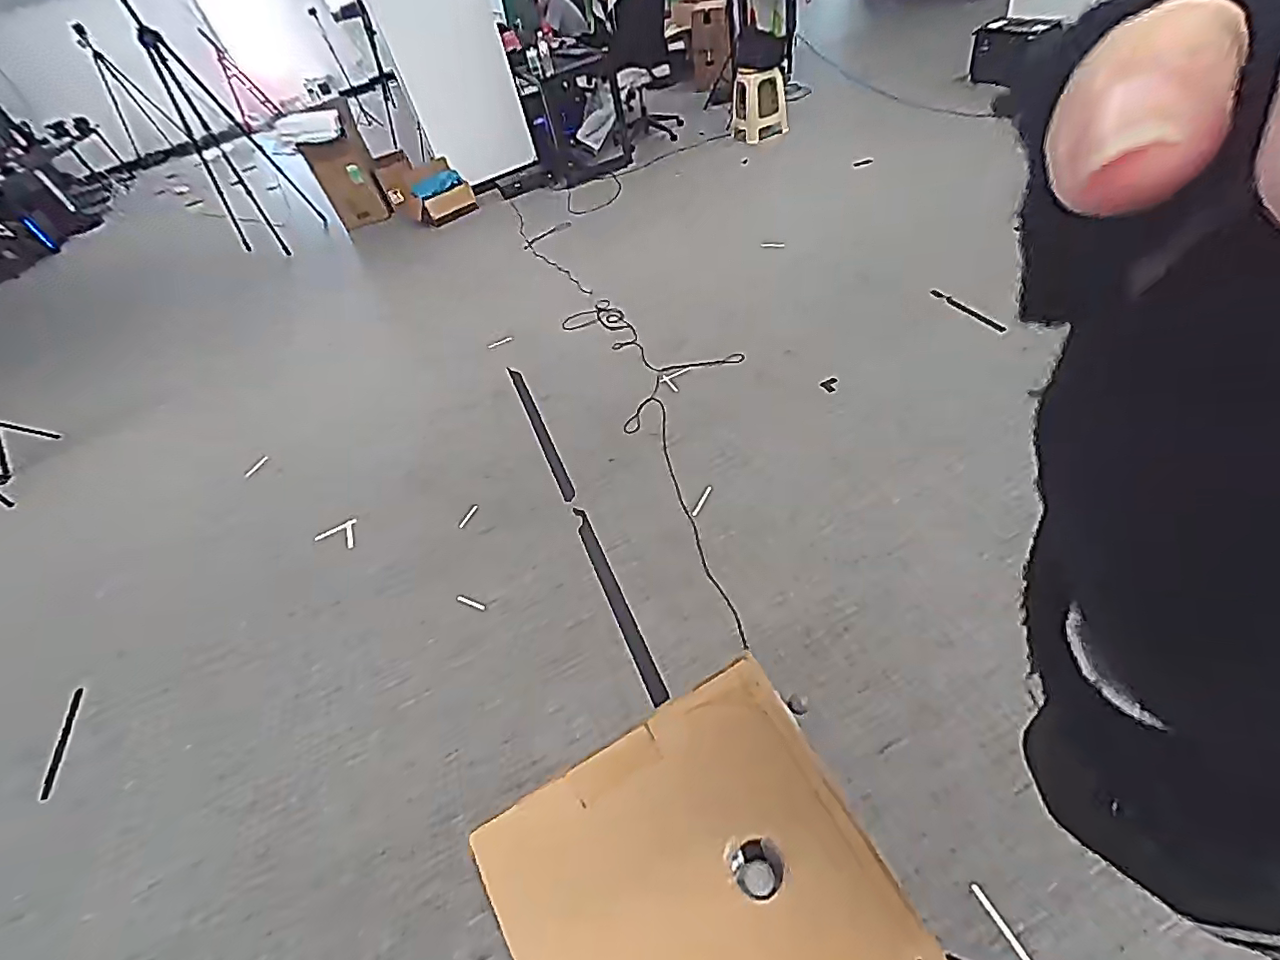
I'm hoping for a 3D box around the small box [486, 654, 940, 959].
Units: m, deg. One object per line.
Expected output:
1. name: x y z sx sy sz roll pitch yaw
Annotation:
1. small box: 0.046 0.227 0.327 0.168 0.179 0.176 -33 69 1
